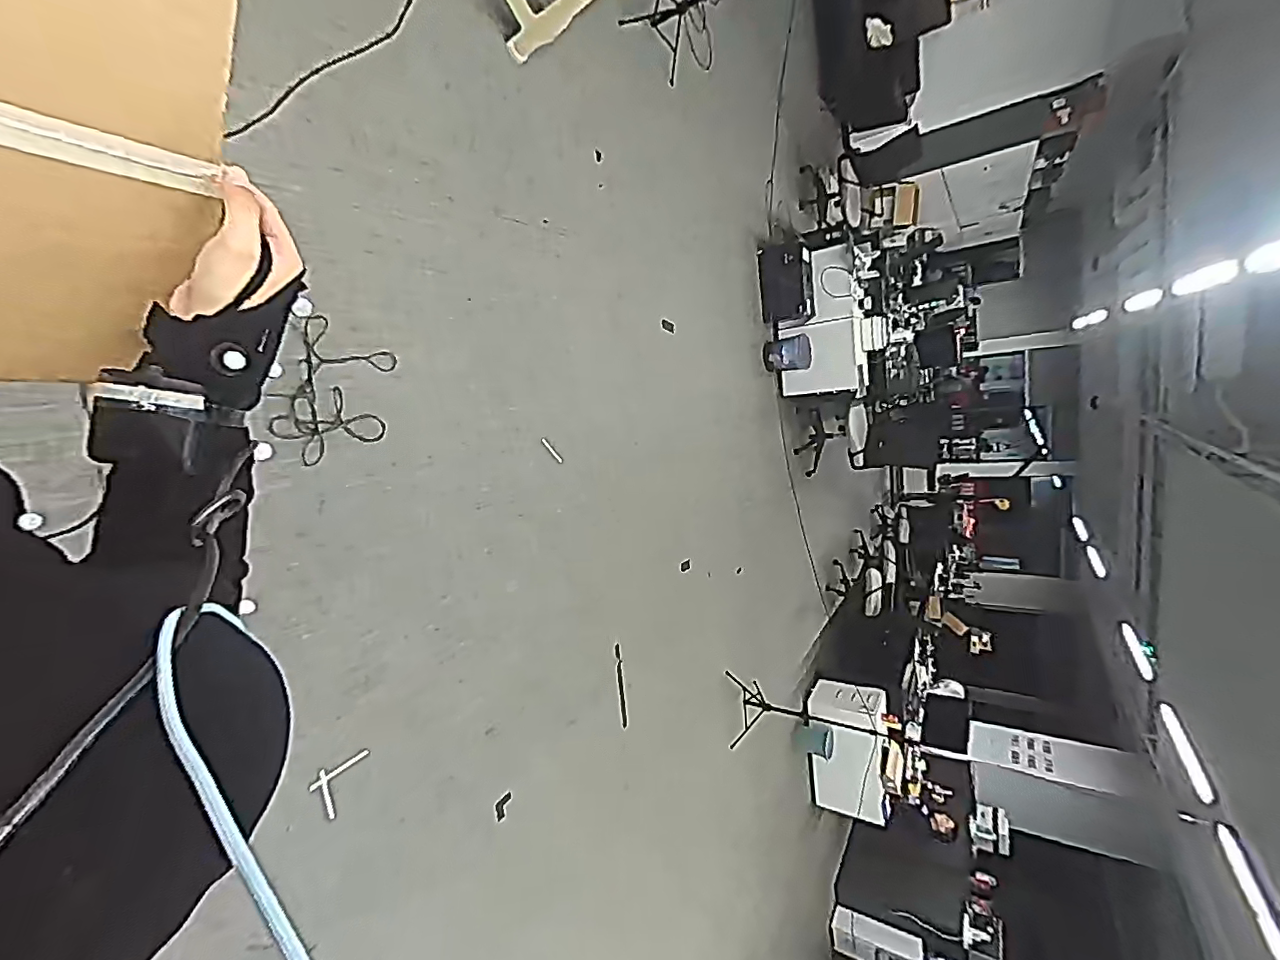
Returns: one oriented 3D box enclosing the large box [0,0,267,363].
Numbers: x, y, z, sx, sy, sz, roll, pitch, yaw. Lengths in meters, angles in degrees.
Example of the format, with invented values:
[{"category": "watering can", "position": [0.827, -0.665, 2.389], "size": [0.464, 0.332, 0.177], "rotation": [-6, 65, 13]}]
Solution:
[{"category": "large box", "position": [-0.477, -0.271, 0.251], "size": [0.408, 0.320, 0.320], "rotation": [-13, 138, -56]}]
